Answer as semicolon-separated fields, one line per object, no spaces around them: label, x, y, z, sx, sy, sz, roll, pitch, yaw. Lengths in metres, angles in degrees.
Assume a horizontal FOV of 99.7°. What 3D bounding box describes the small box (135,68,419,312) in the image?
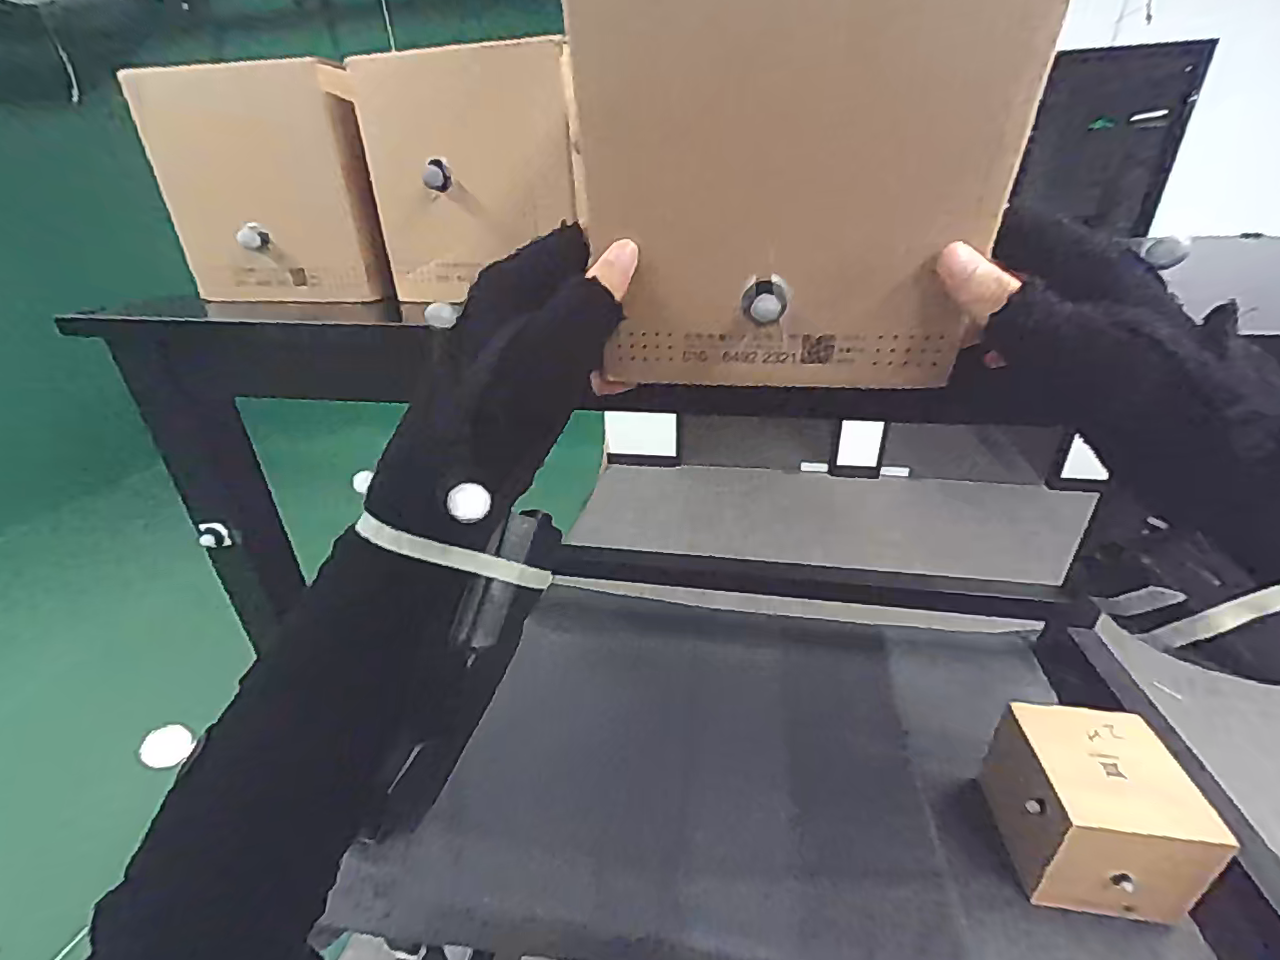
small box;-0.286;-0.261;0.502;0.168;0.176;0.179;4;29;9

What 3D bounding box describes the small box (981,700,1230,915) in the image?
small box;0.585;0.426;0.712;0.168;0.176;0.179;3;27;9

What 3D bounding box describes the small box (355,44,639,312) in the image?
small box;-0.099;-0.245;0.469;0.168;0.176;0.179;6;28;14
